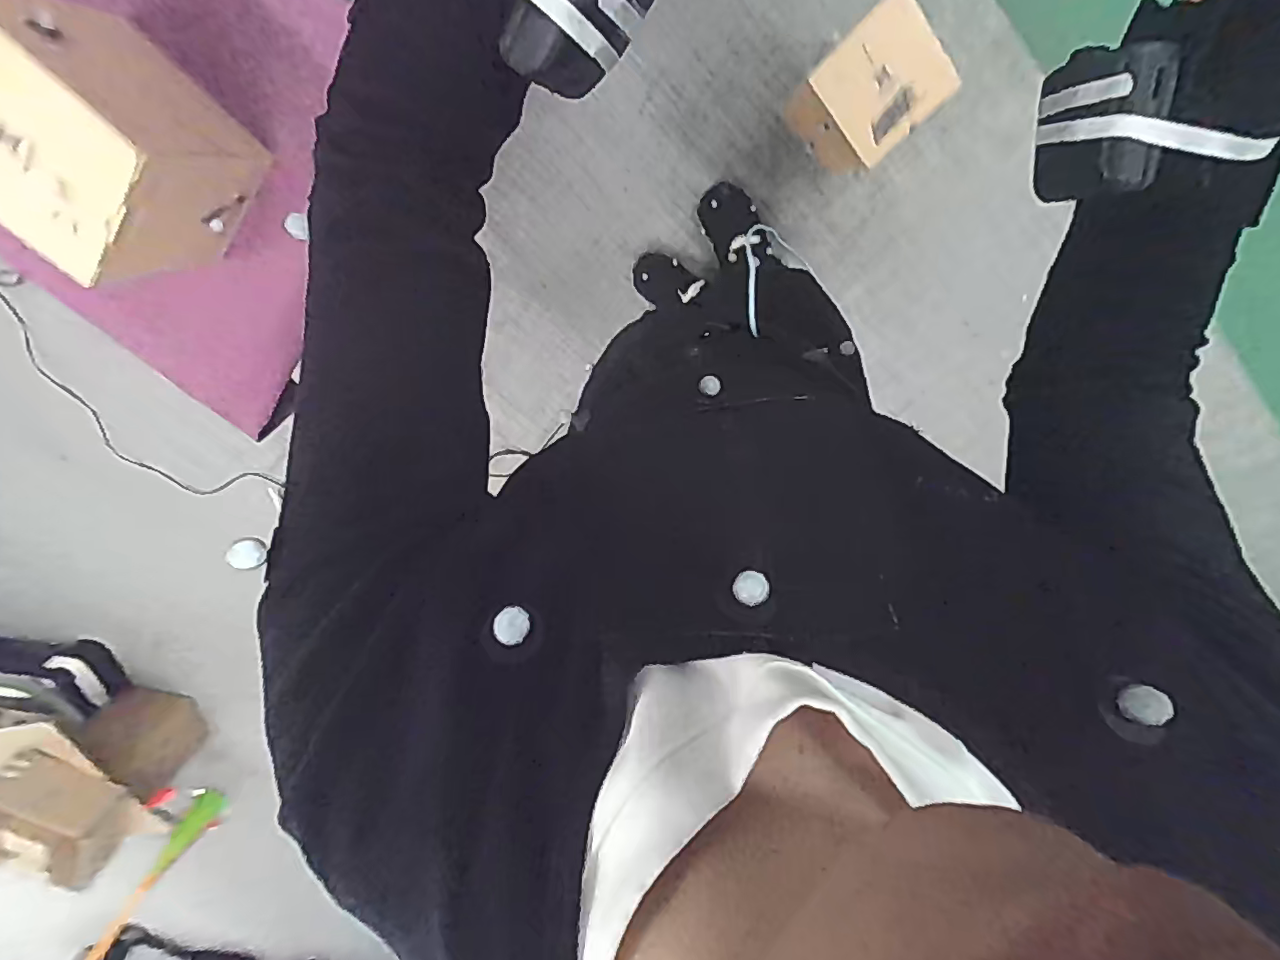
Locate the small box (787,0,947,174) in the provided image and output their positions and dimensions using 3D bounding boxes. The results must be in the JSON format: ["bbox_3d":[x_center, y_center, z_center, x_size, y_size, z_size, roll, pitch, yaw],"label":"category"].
[{"bbox_3d":[0.371,-0.654,0.913,0.168,0.176,0.179,-37,109,24],"label":"small box"}]

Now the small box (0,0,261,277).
[{"bbox_3d":[-0.542,-0.336,0.540,0.168,0.176,0.179,-38,110,24],"label":"small box"}]
